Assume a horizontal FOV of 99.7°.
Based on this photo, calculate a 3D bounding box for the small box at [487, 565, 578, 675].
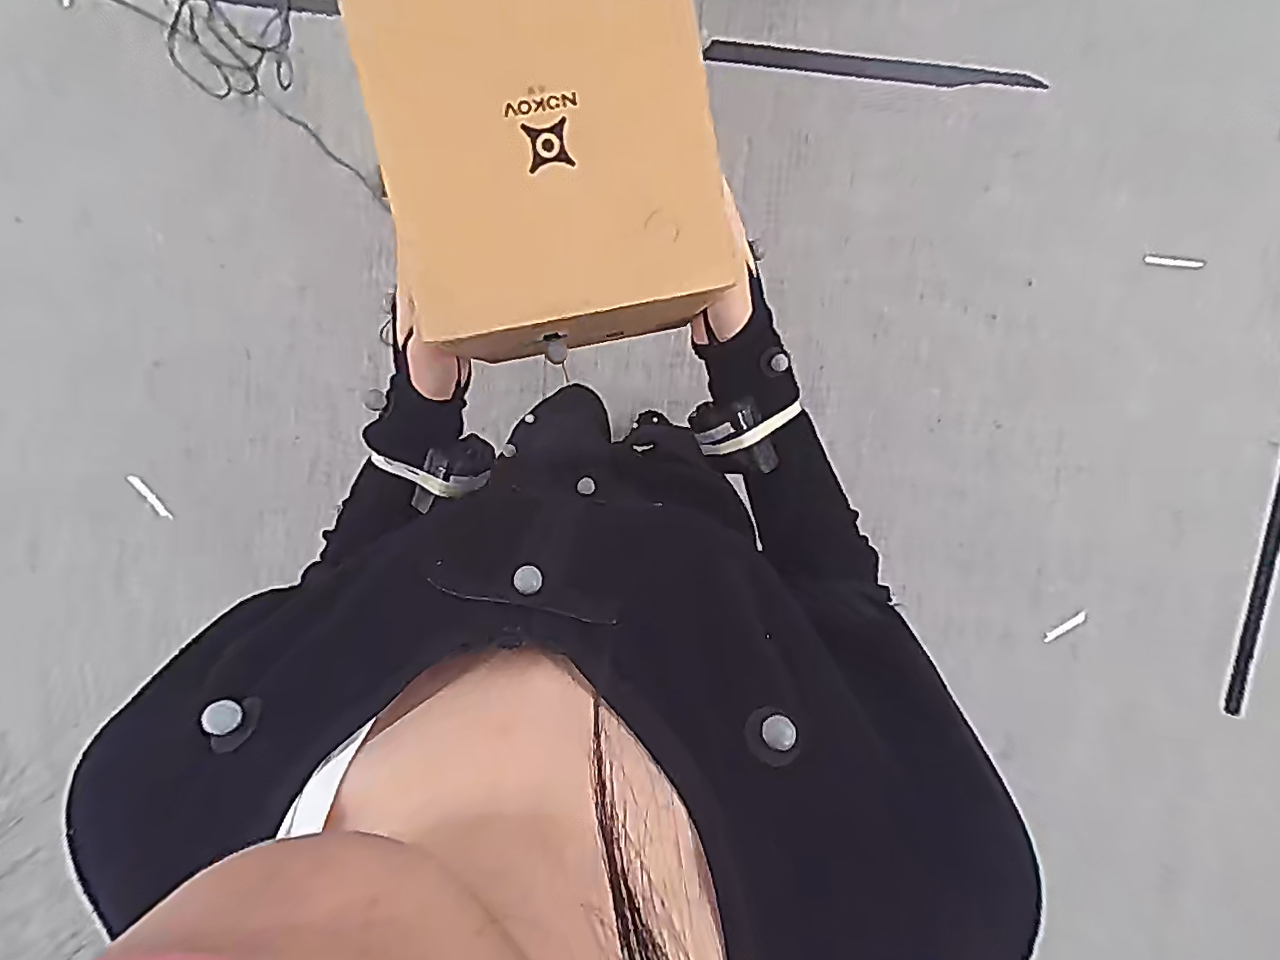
[{"bbox_3d":[-0.223,0.290,1.146,0.168,0.176,0.179,3,95,0],"label":"small box"}]

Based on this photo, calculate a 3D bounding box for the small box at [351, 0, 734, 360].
[{"bbox_3d":[-0.048,-0.179,0.351,0.168,0.176,0.179,-12,98,-2],"label":"small box"}]

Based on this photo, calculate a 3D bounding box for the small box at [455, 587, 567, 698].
[{"bbox_3d":[-0.228,0.301,0.985,0.168,0.176,0.179,1,97,1],"label":"small box"}]
